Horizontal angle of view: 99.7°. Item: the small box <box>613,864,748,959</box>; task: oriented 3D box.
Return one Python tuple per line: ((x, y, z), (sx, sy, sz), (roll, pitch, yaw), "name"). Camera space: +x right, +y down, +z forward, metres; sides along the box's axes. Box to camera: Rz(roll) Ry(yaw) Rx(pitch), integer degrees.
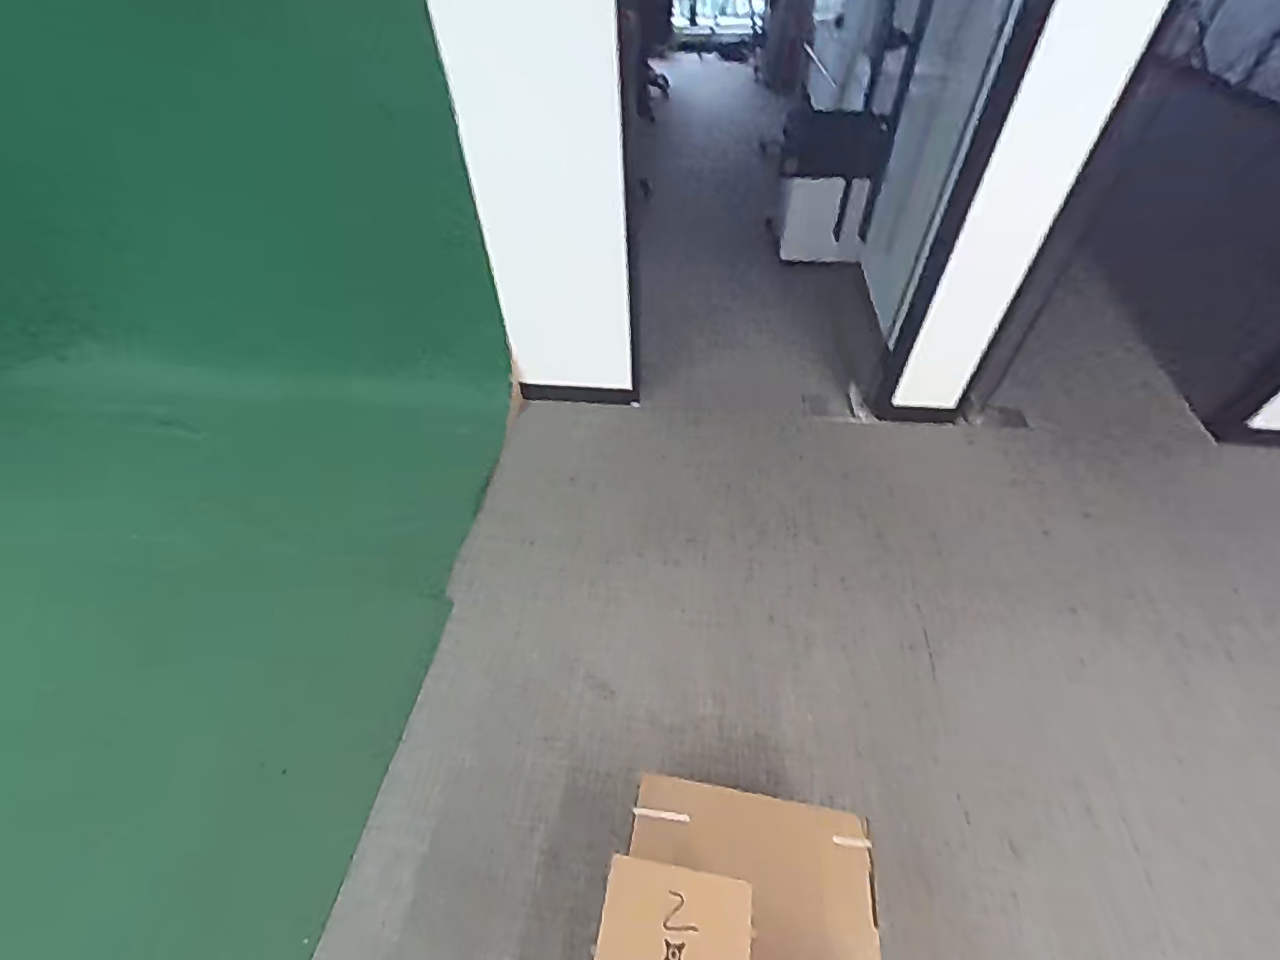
((0.050, 0.676, 0.754), (0.168, 0.176, 0.179), (9, 46, 11), "small box")
